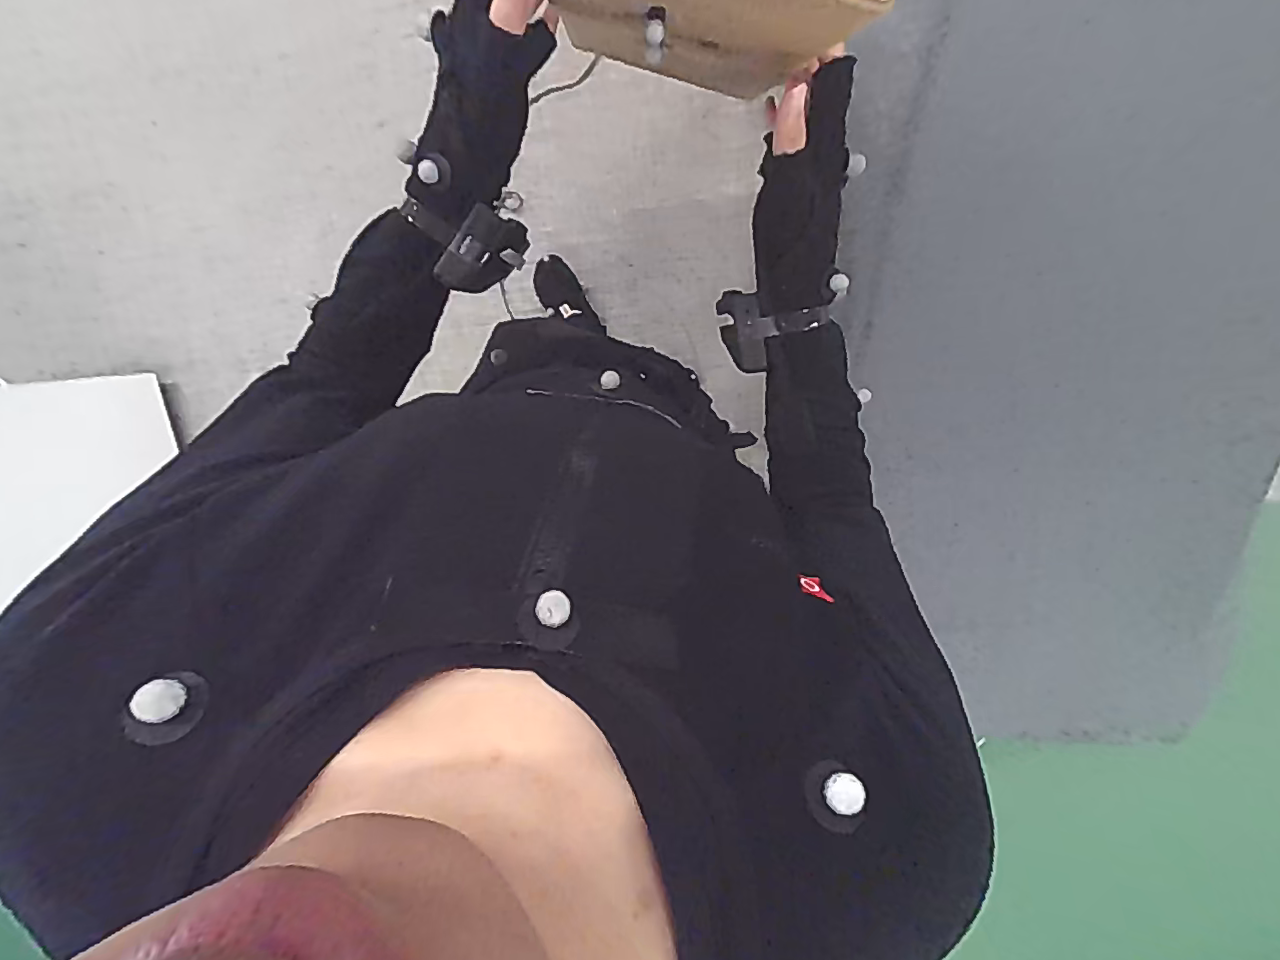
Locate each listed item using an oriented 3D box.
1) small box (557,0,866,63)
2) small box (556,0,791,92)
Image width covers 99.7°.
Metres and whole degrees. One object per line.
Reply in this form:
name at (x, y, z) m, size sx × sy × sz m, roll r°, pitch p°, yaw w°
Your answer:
small box at (0.034, -0.329, 0.248) m, size 0.168 × 0.176 × 0.179 m, roll 9°, pitch 119°, yaw -7°
small box at (0.034, -0.407, 0.391) m, size 0.179 × 0.176 × 0.168 m, roll 11°, pitch 118°, yaw -8°
